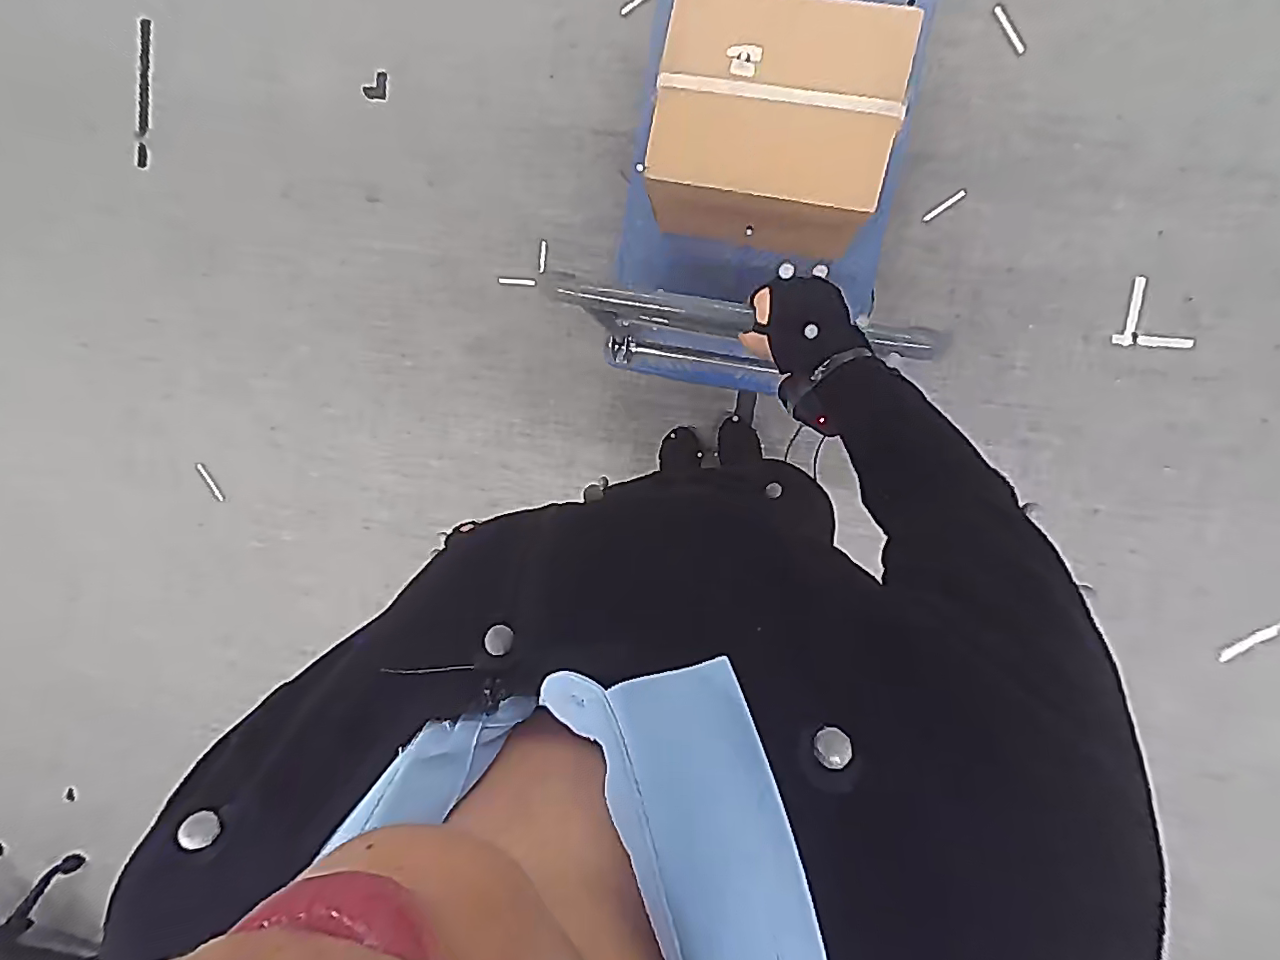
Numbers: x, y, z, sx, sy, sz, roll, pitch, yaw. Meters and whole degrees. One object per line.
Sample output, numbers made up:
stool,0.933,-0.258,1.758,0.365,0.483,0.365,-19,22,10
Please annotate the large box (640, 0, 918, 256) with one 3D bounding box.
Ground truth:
large box,0.244,-0.652,1.039,0.408,0.320,0.320,12,98,8
